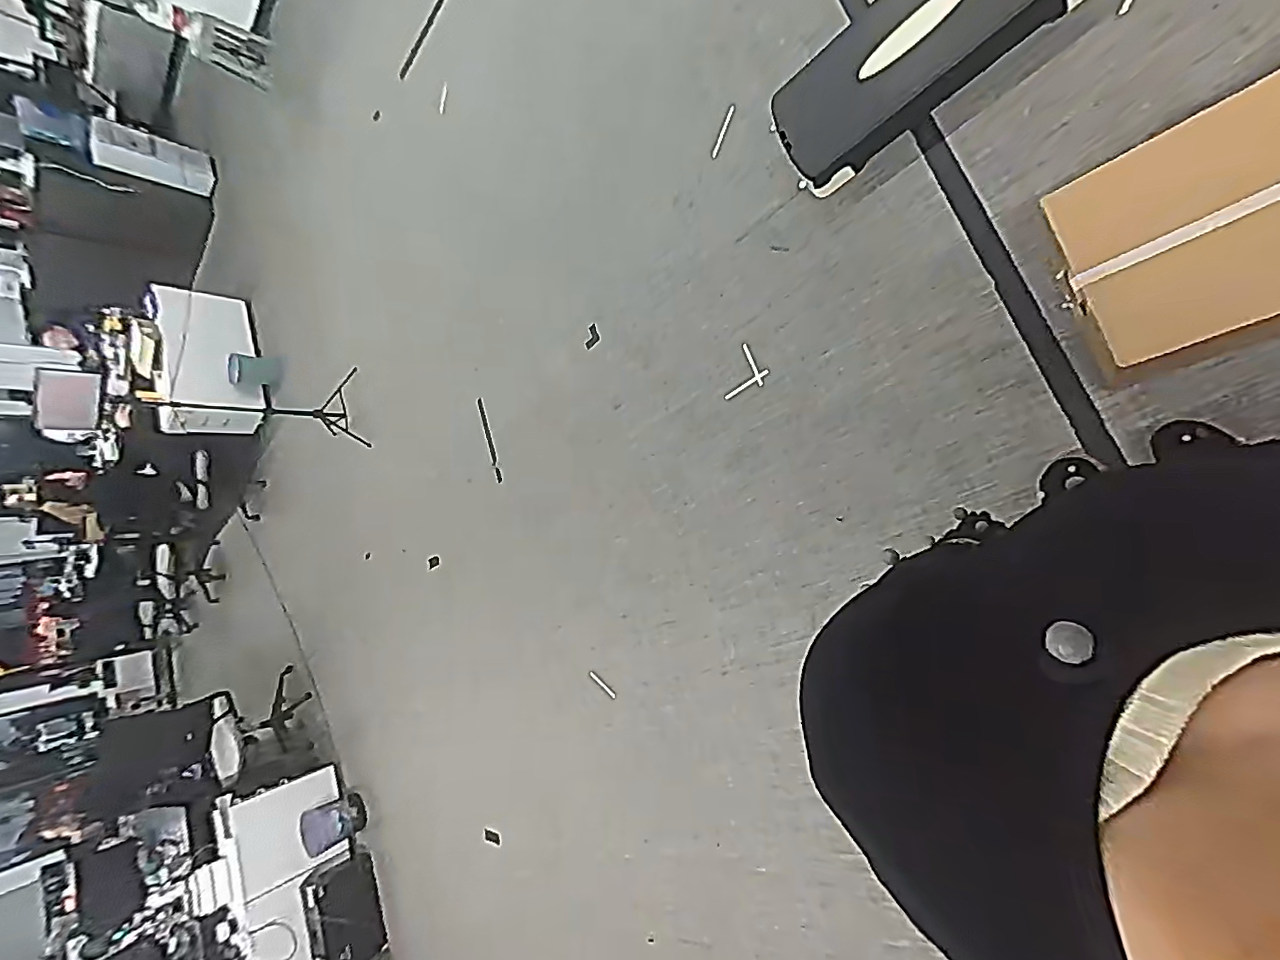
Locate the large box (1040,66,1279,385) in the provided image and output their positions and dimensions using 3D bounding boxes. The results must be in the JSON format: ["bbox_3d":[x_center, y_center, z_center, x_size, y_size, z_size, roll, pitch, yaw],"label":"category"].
[{"bbox_3d":[0.938,-0.388,0.862,0.408,0.320,0.320,-24,77,37],"label":"large box"}]
